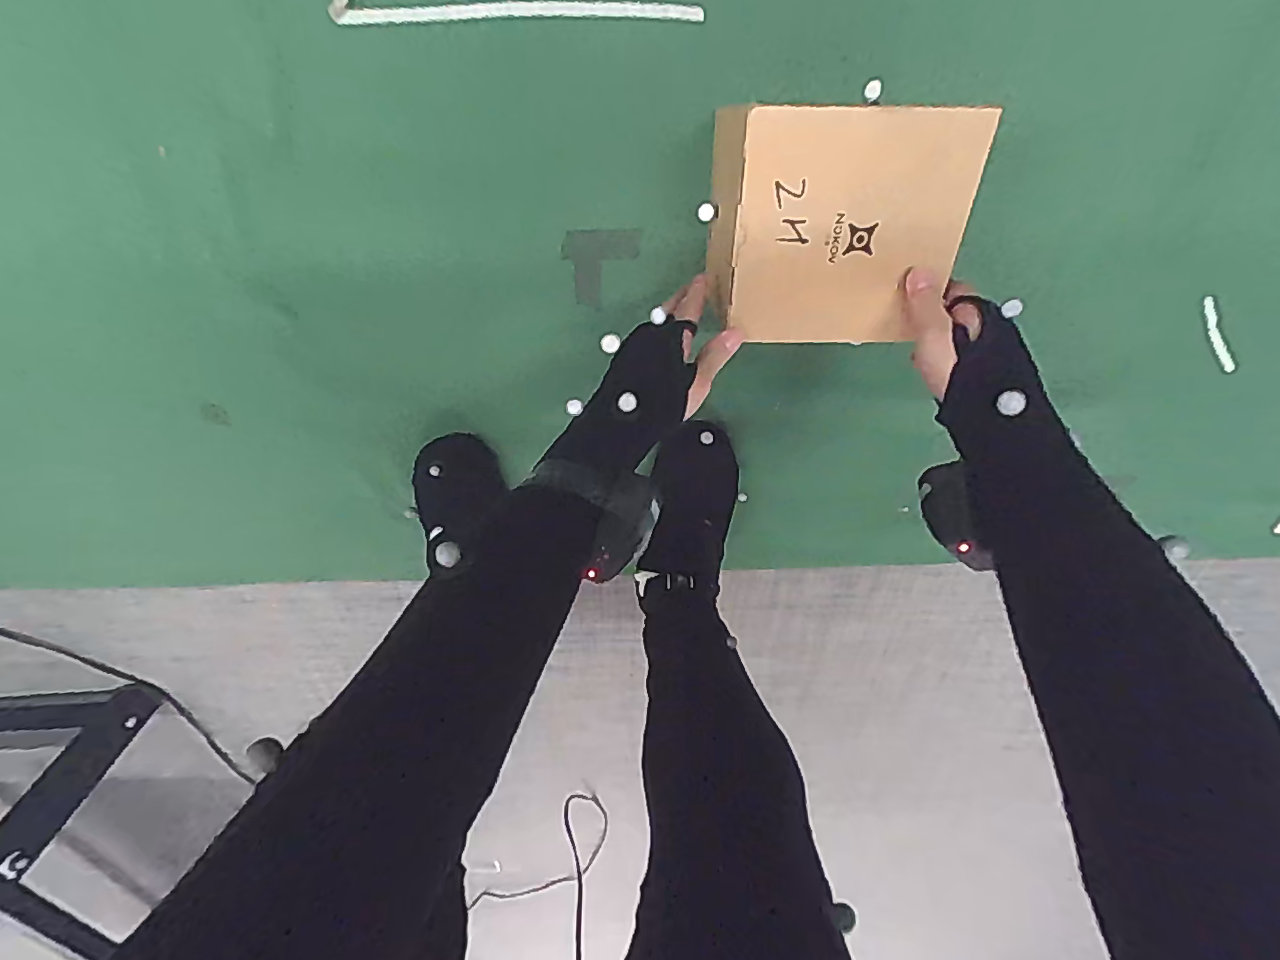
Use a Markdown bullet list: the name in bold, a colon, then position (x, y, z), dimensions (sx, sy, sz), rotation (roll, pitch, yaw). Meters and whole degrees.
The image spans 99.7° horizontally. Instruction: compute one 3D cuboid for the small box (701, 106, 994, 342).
- **small box**: position (0.157, -0.231, 0.481), dimensions (0.179, 0.176, 0.168), rotation (0, 123, -1)
